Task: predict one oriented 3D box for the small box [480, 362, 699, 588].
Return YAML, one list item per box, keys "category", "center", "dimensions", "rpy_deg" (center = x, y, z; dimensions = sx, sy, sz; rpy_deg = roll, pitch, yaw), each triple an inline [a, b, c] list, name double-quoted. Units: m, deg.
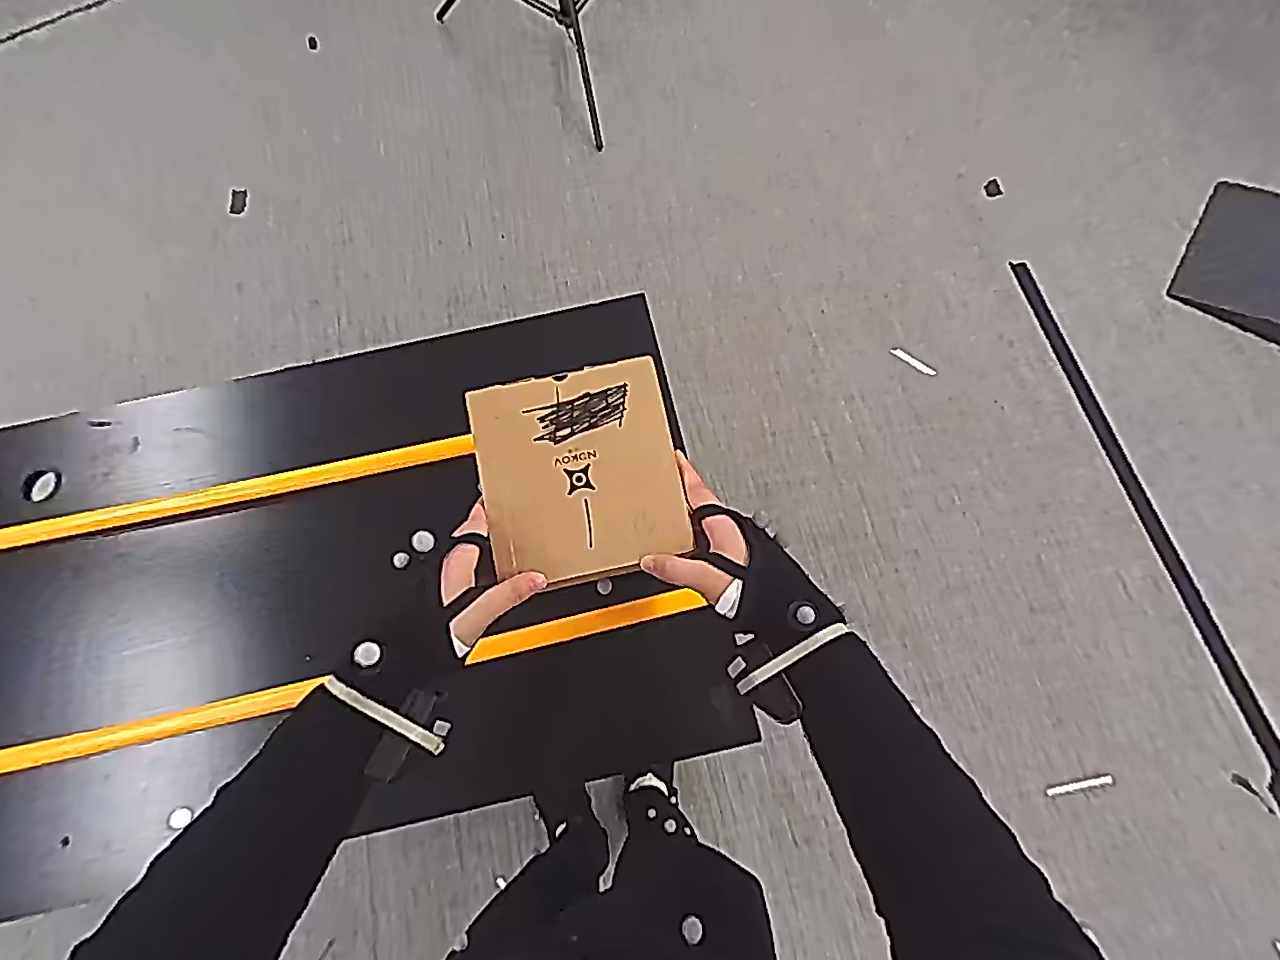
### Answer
- category: "small box"
  center: [-0.046, 0.007, 0.542]
  dimensions: [0.168, 0.176, 0.179]
  rpy_deg: [-12, 79, -2]
